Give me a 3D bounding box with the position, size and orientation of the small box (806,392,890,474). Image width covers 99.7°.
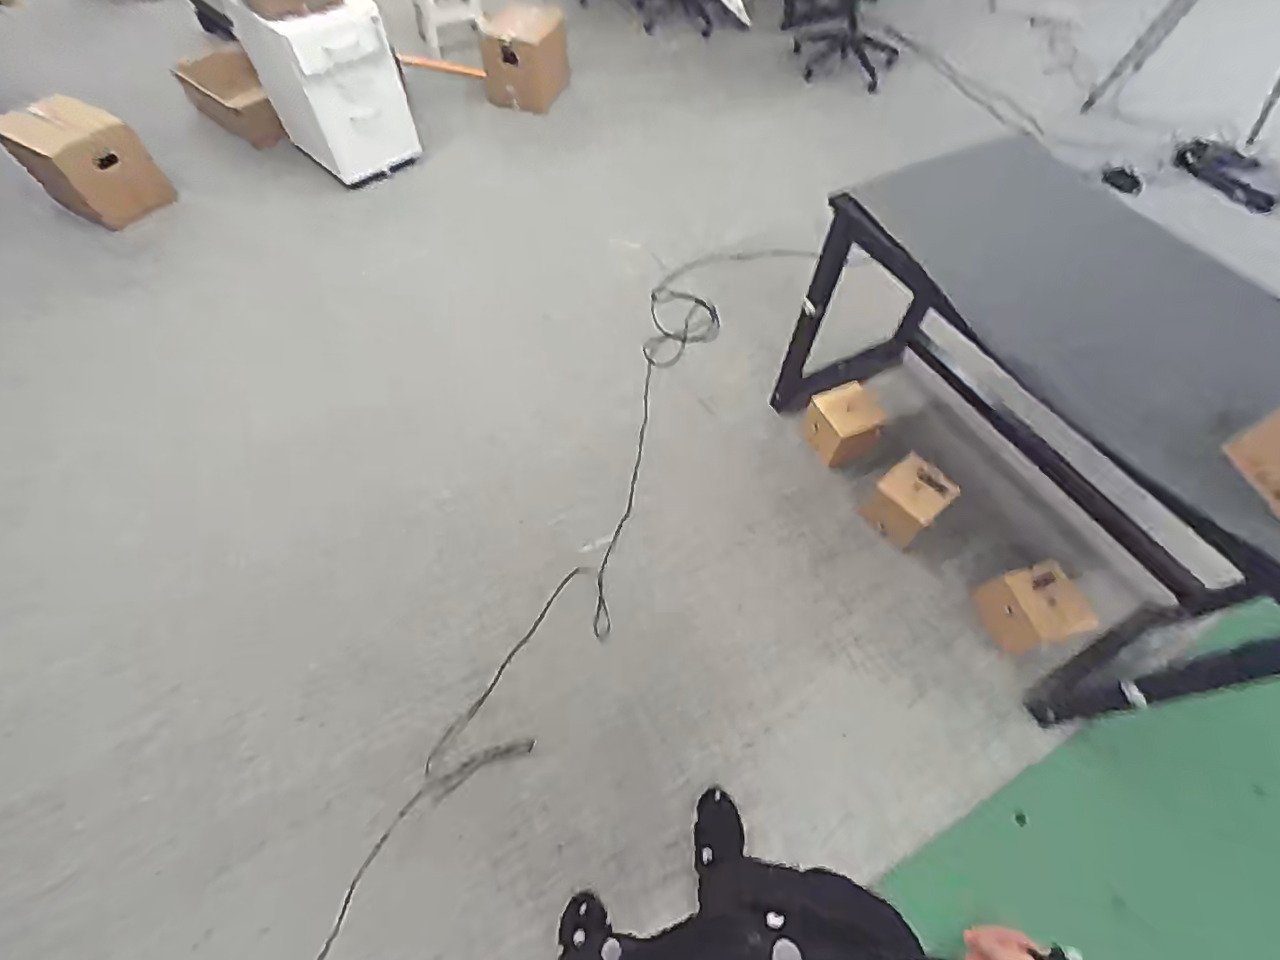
[{"bbox_3d":[0.648,-0.144,1.719,0.179,0.176,0.168,-19,60,-14],"label":"small box"}]

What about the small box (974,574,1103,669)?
[{"bbox_3d":[1.015,0.368,1.399,0.168,0.176,0.179,-12,60,-8],"label":"small box"}]
